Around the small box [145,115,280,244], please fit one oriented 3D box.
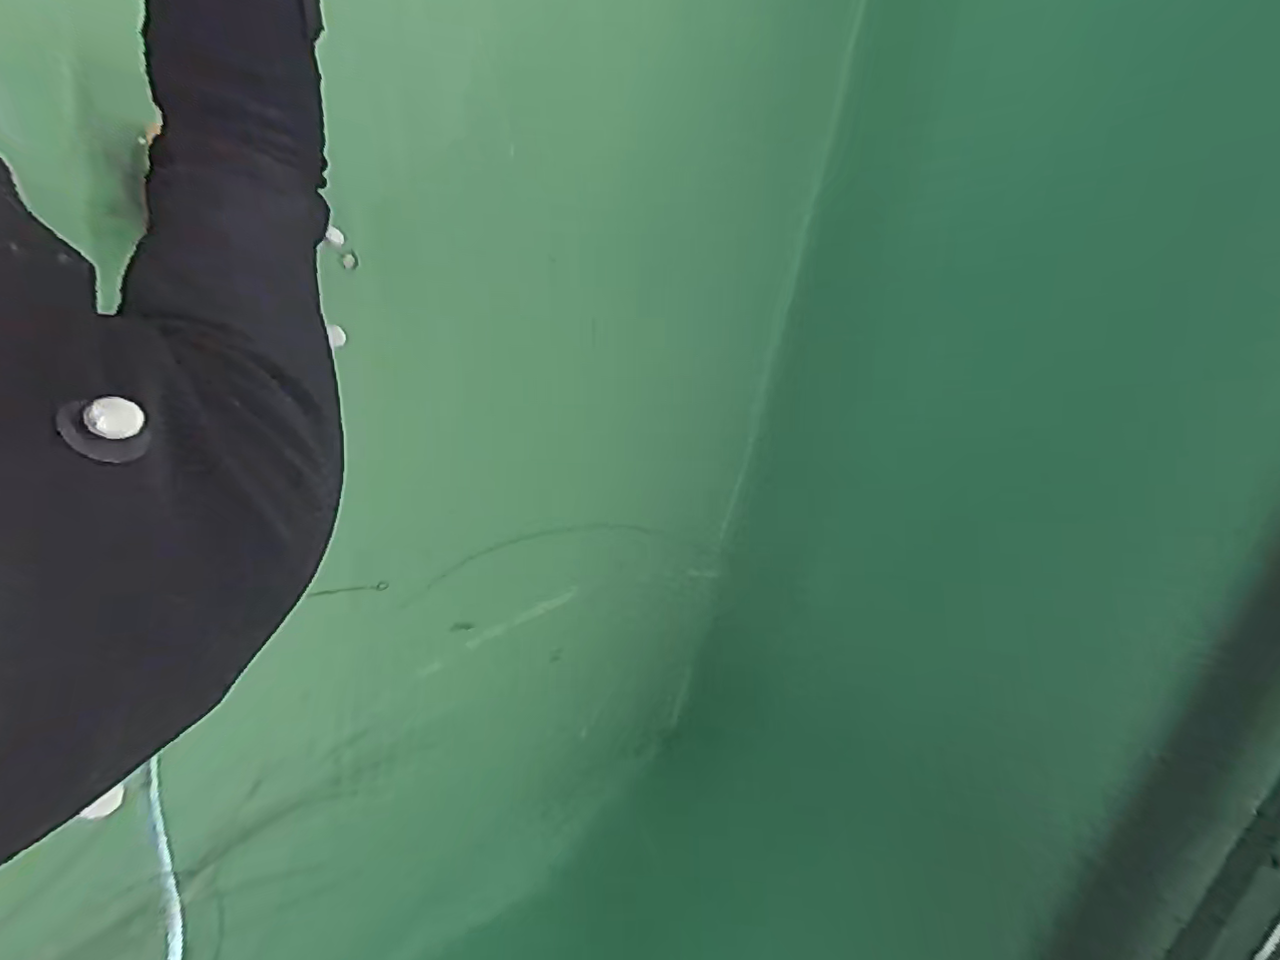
[{"bbox_3d":[-0.827,-0.568,1.043,0.179,0.176,0.168,-4,113,-51],"label":"small box"}]
